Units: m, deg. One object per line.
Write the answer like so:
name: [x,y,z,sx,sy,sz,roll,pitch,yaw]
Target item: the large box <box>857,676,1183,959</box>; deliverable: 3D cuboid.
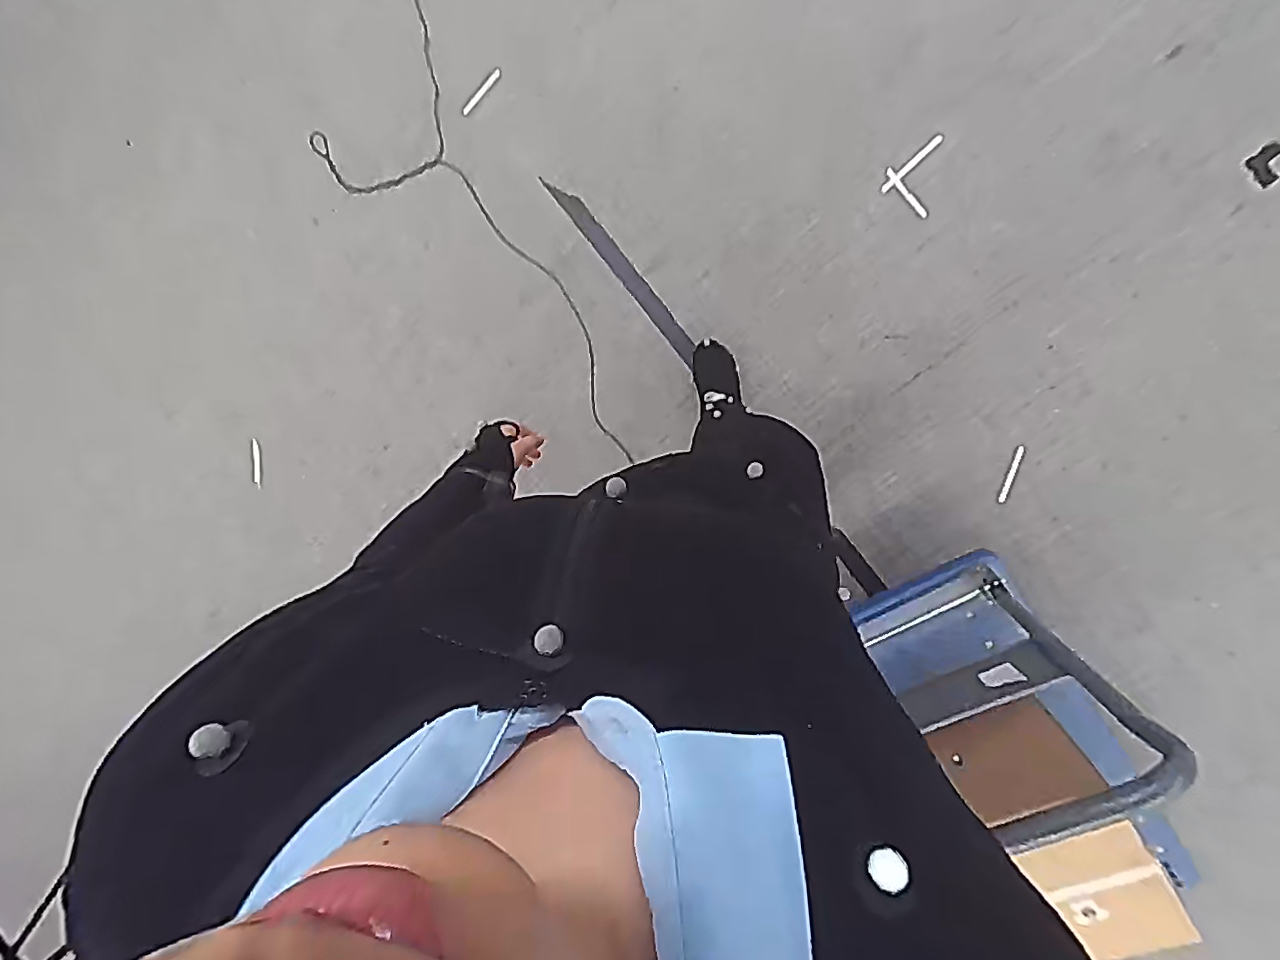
large box: [0.738,0.688,1.134,0.408,0.320,0.320,-32,92,15]
